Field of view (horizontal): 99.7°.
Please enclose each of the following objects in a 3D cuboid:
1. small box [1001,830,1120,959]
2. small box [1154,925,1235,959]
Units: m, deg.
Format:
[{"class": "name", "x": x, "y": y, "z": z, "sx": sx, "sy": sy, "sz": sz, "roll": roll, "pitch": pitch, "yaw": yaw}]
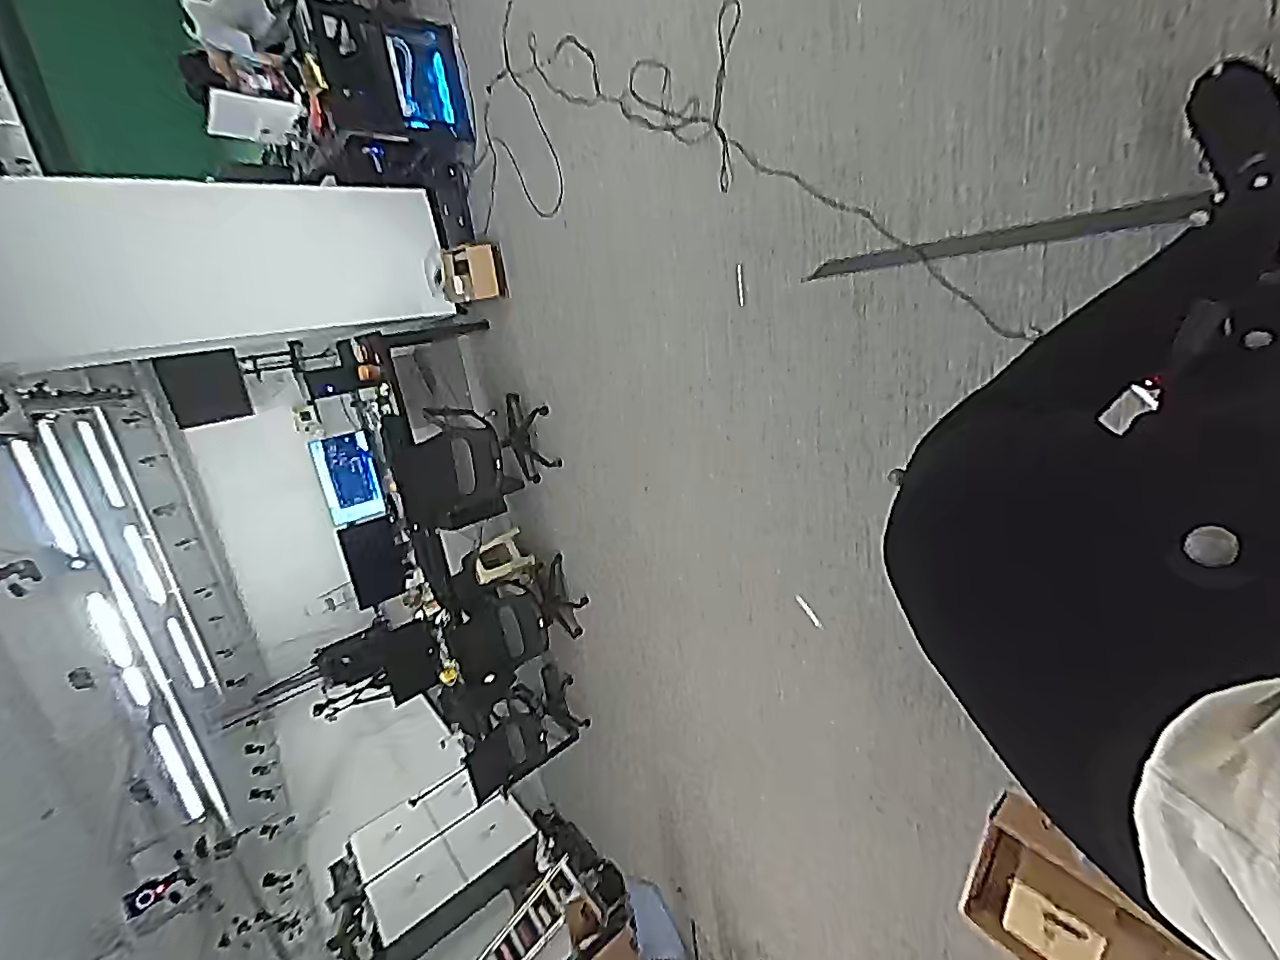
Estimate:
[{"class": "small box", "x": 0.956, "y": 0.953, "z": 1.228, "sx": 0.168, "sy": 0.176, "sz": 0.179, "roll": 20, "pitch": 124, "yaw": 46}, {"class": "small box", "x": 1.122, "y": 1.042, "z": 1.056, "sx": 0.179, "sy": 0.176, "sz": 0.168, "roll": 20, "pitch": 123, "yaw": 47}]
